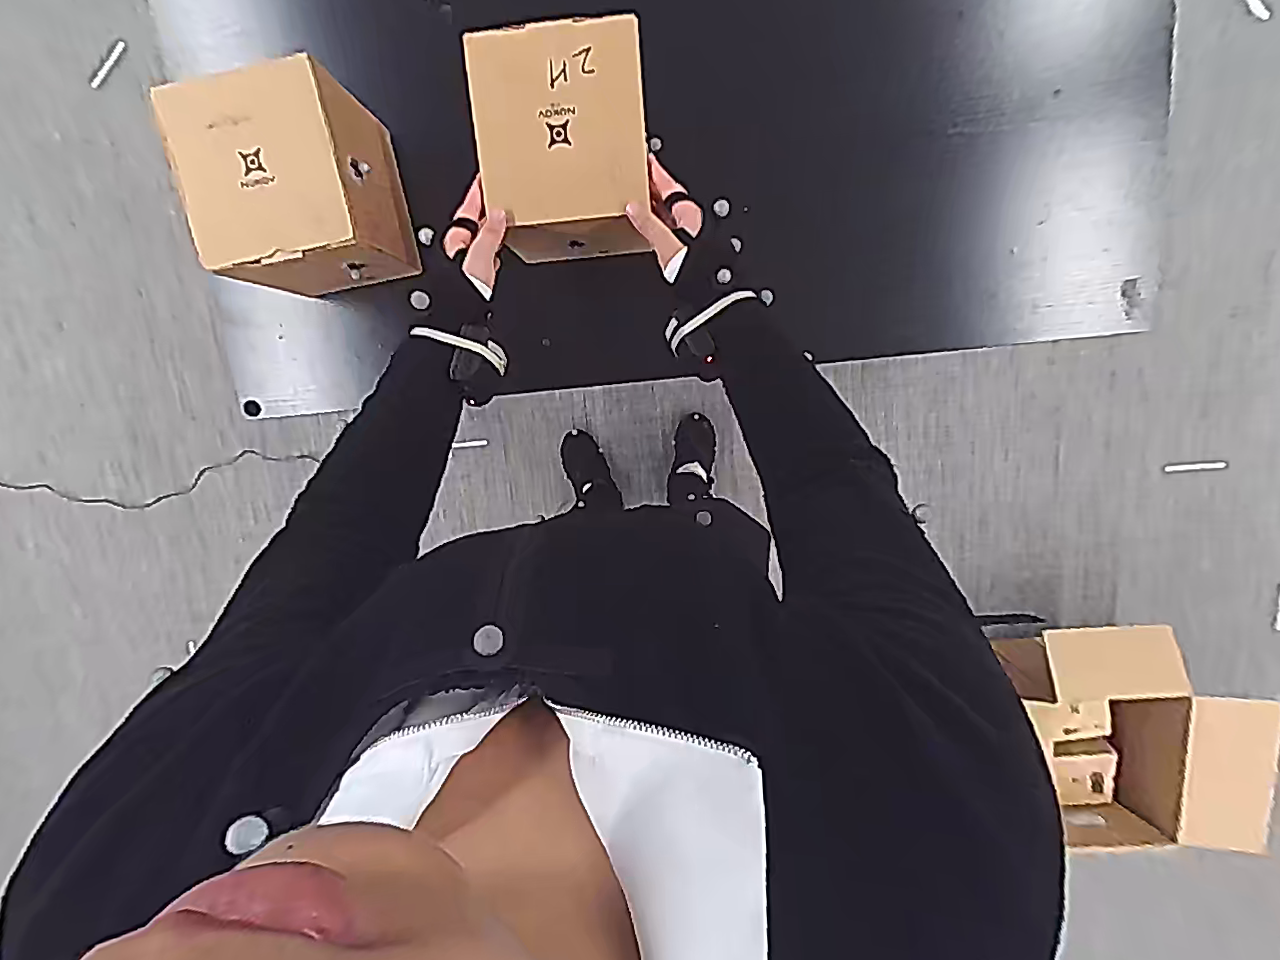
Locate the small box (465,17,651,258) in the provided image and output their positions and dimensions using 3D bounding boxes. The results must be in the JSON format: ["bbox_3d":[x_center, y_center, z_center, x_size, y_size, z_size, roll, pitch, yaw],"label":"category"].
[{"bbox_3d":[-0.075,-0.354,0.598,0.168,0.176,0.179,-4,100,2],"label":"small box"}]

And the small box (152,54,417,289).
[{"bbox_3d":[-0.379,-0.326,0.615,0.168,0.176,0.179,-10,99,2],"label":"small box"}]
